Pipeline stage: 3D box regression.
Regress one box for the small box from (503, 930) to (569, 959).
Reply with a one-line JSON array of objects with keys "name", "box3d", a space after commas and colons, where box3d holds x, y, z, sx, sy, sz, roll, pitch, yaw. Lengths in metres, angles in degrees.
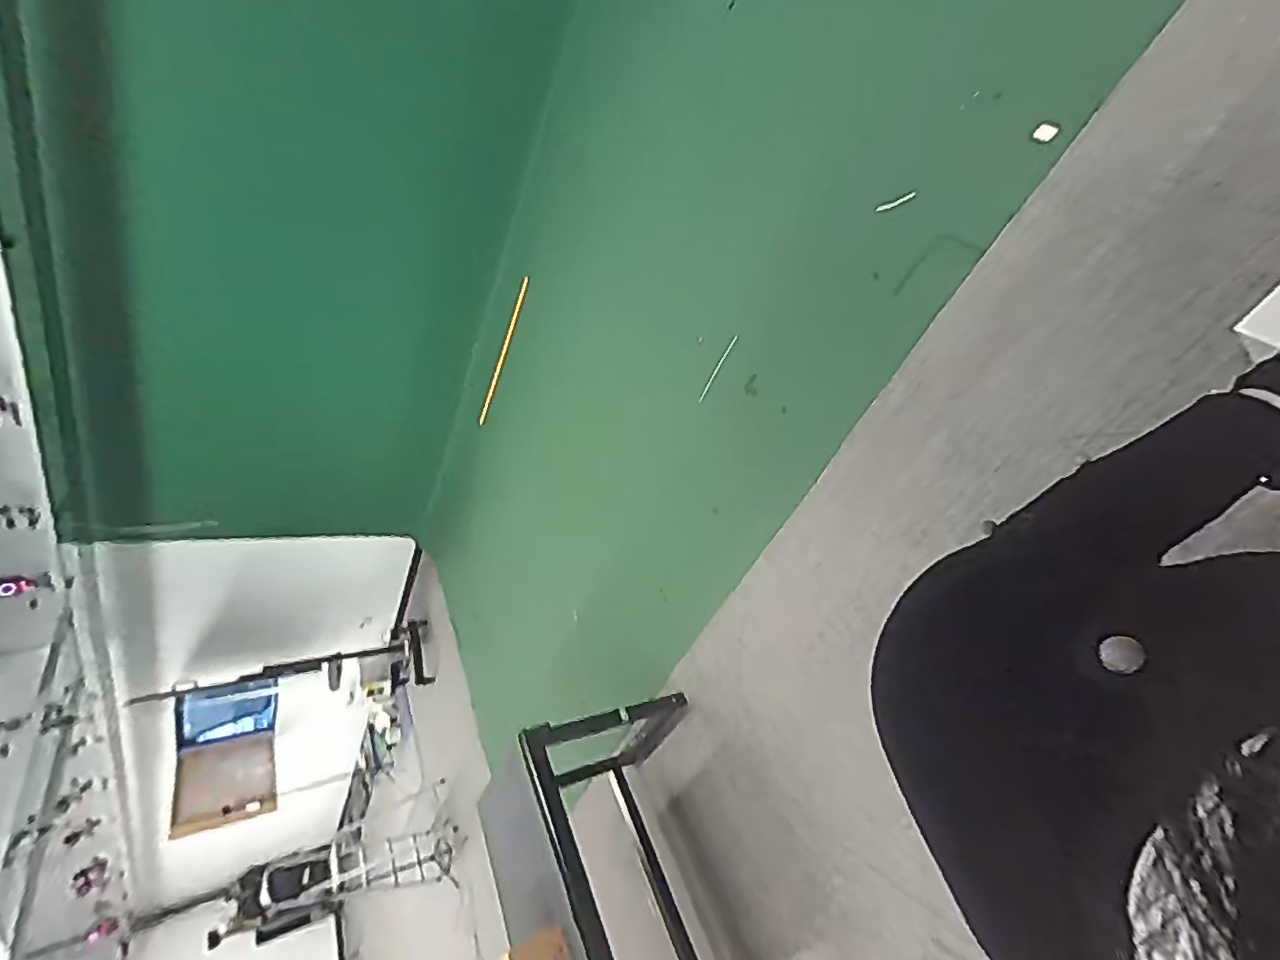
[{"name": "small box", "box3d": [-0.297, 1.430, 1.528, 0.168, 0.176, 0.179, 53, 129, 40]}]
